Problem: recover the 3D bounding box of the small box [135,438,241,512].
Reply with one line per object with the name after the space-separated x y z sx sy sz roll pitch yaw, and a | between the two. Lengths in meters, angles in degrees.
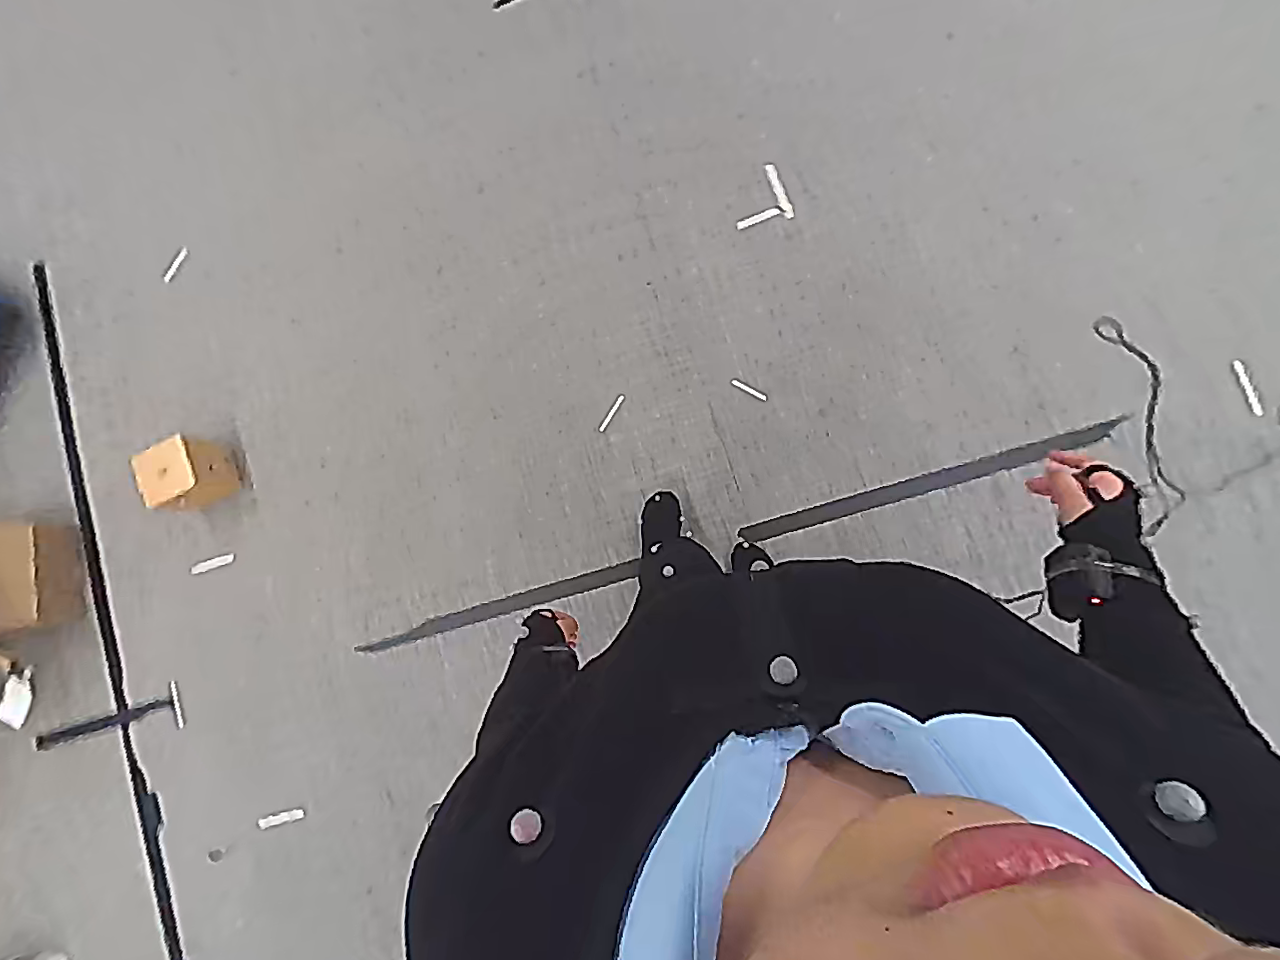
-1.370 -0.013 1.655 0.179 0.176 0.168 -26 83 6 | small box
